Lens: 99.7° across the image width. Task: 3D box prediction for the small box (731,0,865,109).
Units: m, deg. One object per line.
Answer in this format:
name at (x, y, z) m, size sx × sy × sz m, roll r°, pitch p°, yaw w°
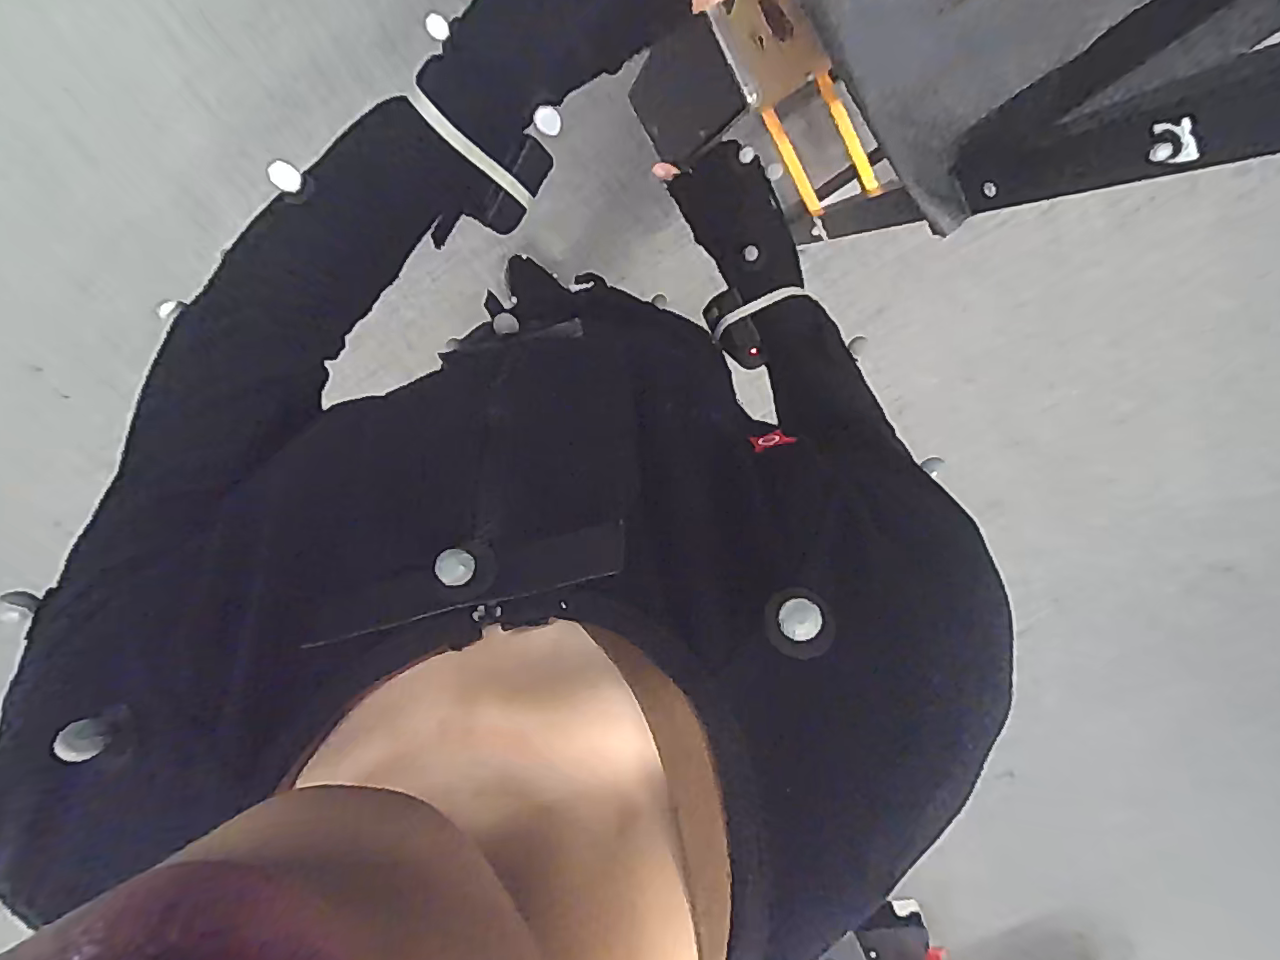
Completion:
small box at (0.284, -0.844, 1.017) m, size 0.179 × 0.176 × 0.168 m, roll -29°, pitch 108°, yaw 9°
